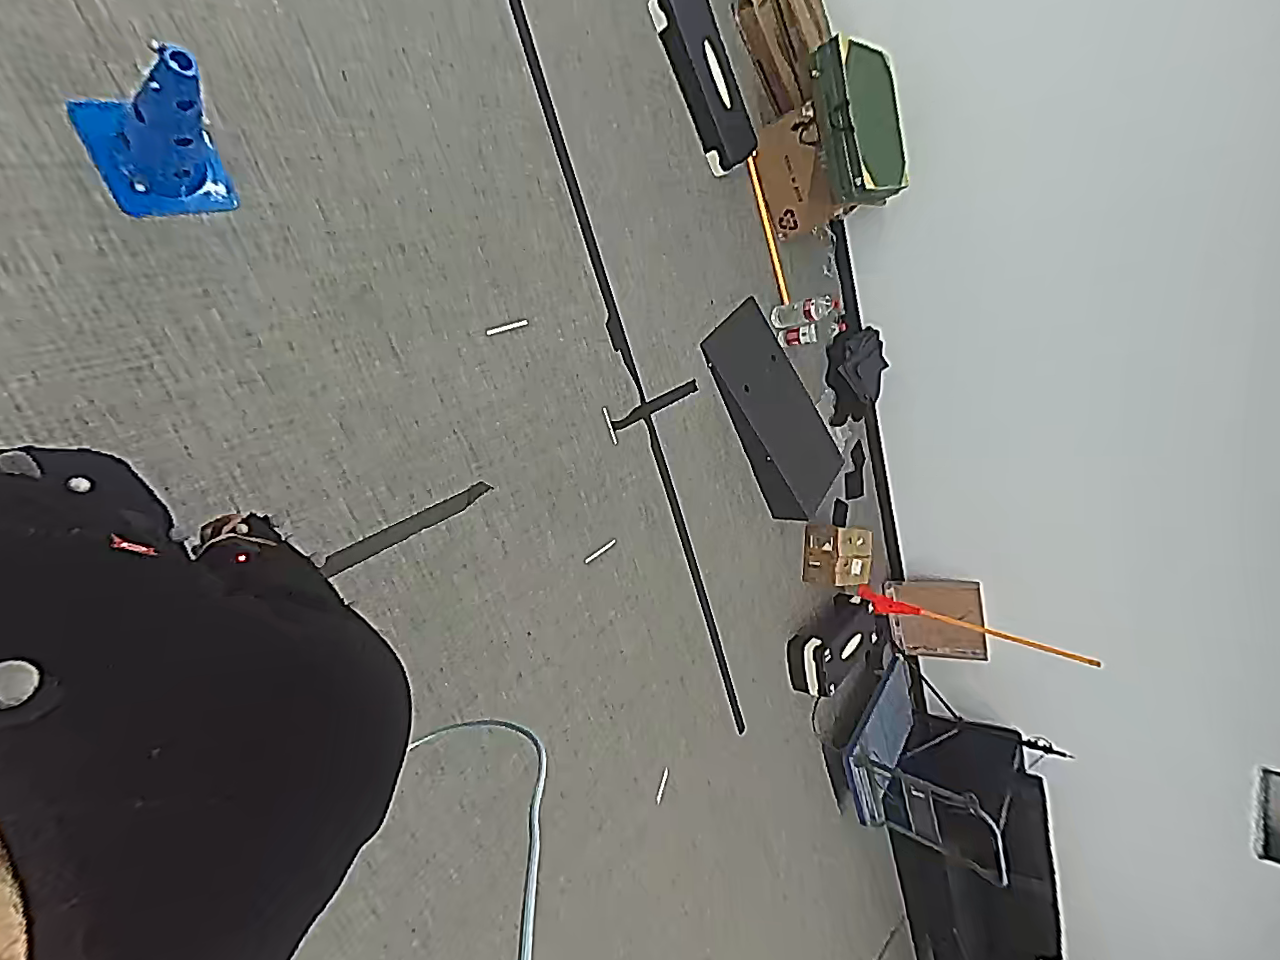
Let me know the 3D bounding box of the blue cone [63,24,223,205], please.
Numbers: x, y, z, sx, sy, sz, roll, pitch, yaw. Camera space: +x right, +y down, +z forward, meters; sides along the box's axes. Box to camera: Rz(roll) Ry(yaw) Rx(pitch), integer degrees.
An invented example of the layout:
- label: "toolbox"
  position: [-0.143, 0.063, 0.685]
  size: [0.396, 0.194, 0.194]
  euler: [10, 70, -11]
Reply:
- label: "blue cone"
  position: [-0.818, -0.630, 0.916]
  size: [0.193, 0.380, 0.192]
  euler: [-32, 112, -41]
